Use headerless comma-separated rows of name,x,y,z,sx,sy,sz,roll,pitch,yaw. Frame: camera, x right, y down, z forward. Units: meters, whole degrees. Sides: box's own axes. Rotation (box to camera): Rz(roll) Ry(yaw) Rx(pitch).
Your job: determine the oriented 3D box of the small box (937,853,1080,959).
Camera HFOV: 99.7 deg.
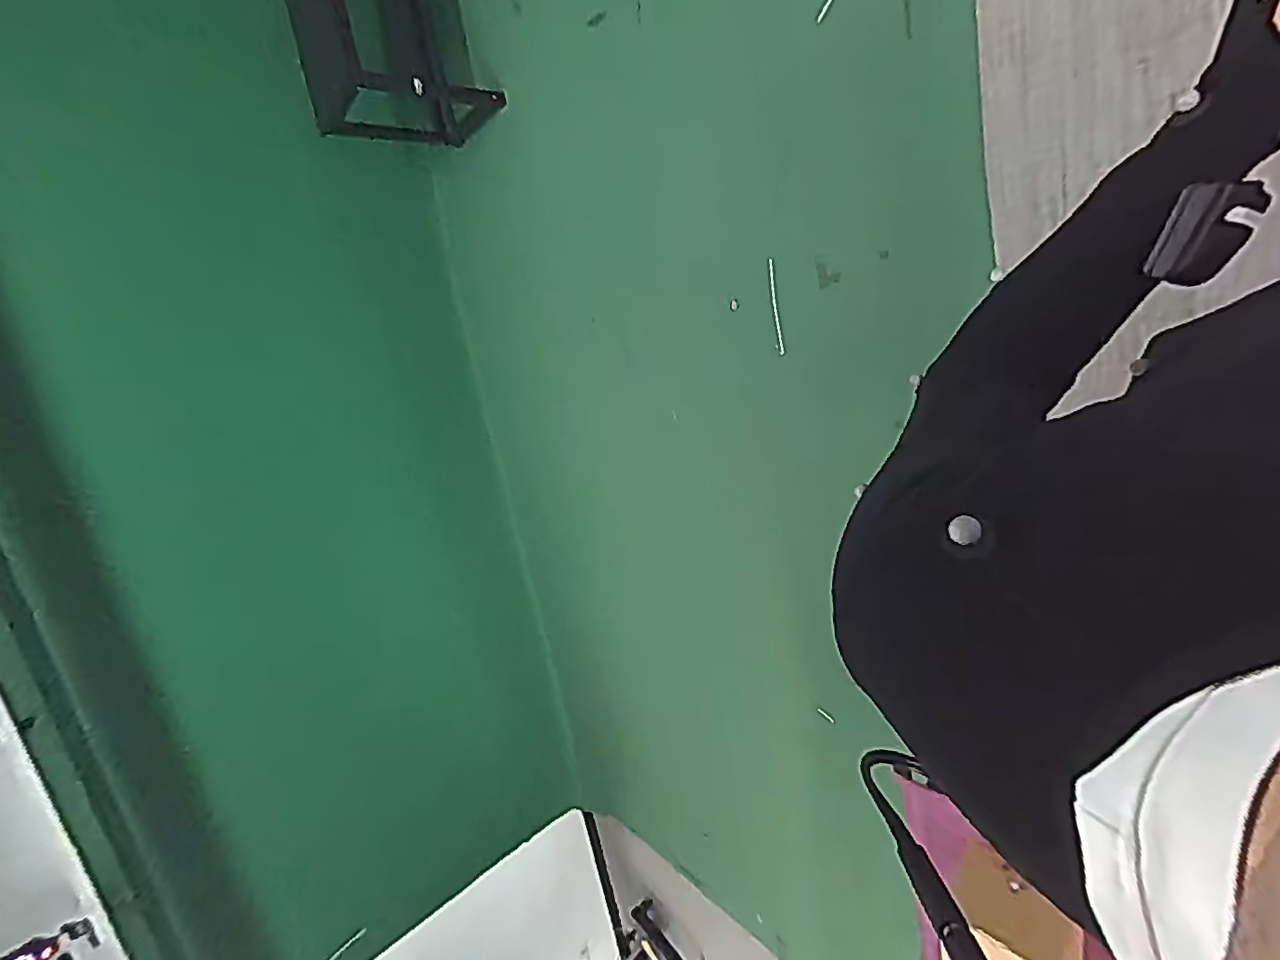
small box,0.627,0.799,0.918,0.168,0.176,0.179,4,108,49
